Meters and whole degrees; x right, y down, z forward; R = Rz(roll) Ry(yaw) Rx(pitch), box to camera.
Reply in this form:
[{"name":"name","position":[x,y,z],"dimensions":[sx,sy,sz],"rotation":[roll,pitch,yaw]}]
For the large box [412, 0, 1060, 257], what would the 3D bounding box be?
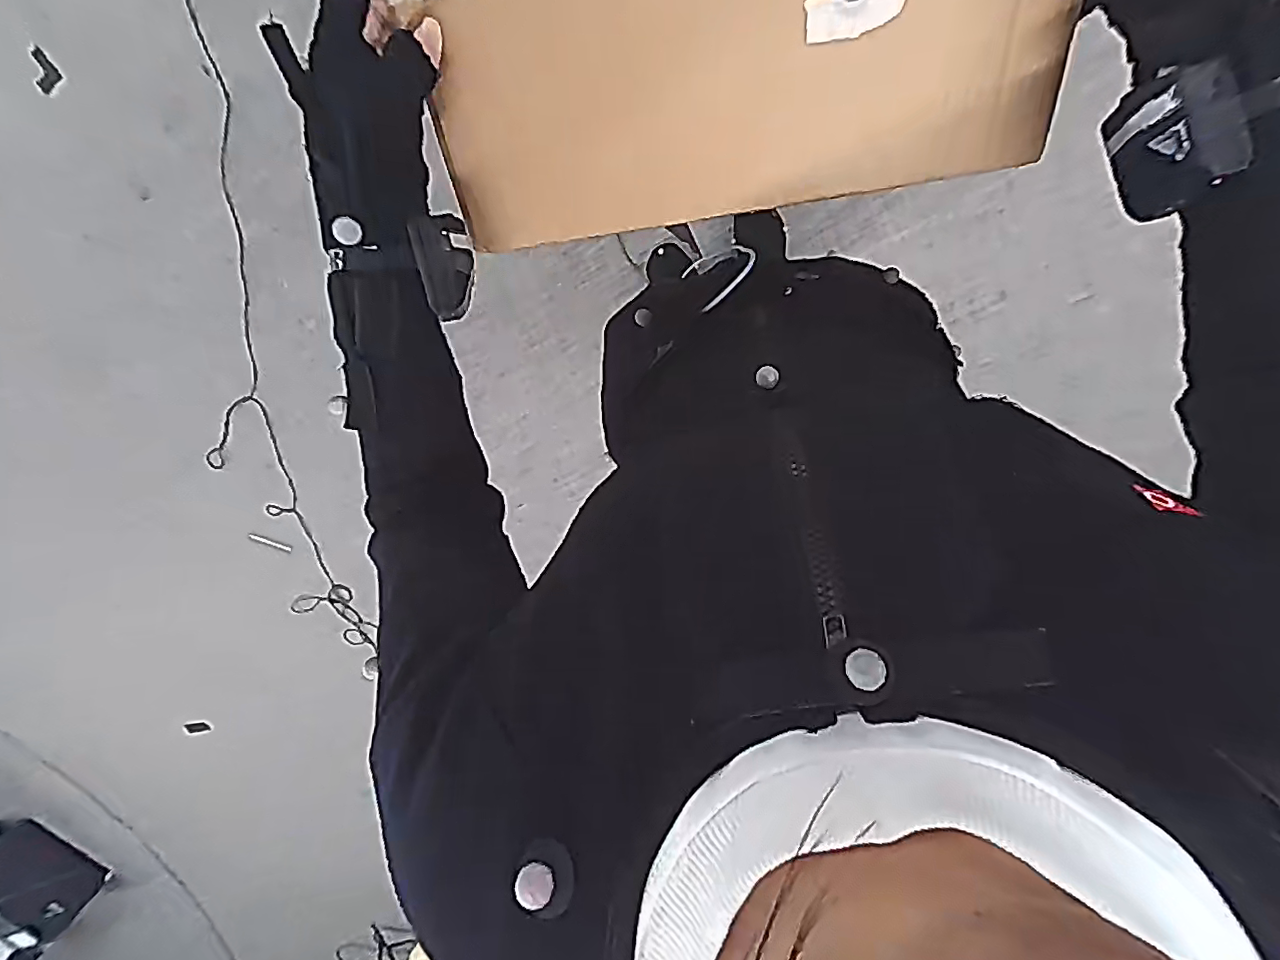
[{"name":"large box","position":[0.049,-0.409,0.433],"dimensions":[0.408,0.320,0.320],"rotation":[-9,127,4]}]
